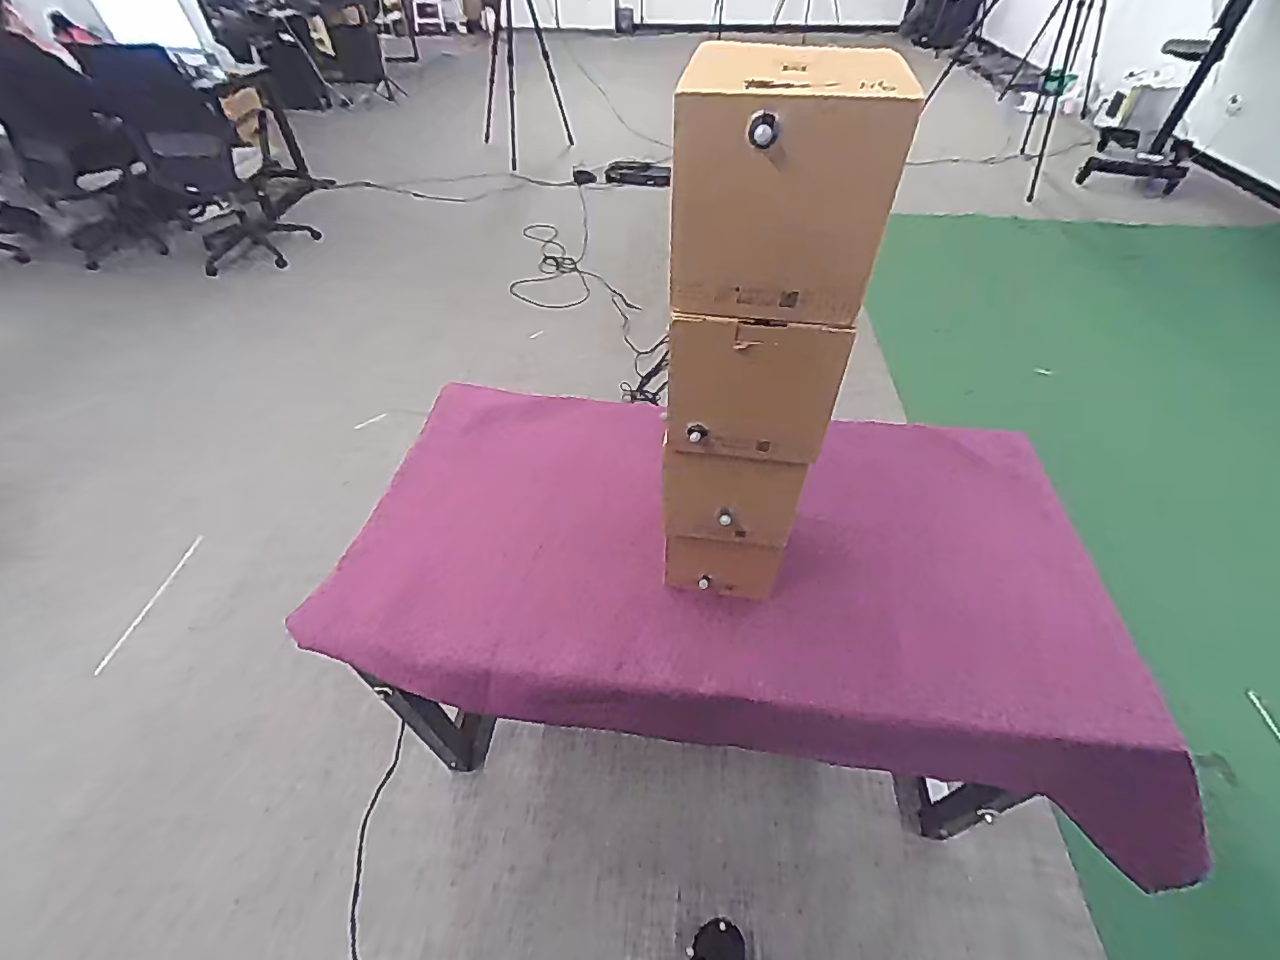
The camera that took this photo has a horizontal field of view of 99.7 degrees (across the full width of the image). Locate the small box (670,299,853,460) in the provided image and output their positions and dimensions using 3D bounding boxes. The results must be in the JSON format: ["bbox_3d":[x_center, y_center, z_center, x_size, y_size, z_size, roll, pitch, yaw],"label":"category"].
[{"bbox_3d":[0.125,-0.142,0.598,0.168,0.176,0.179,7,46,7],"label":"small box"}]

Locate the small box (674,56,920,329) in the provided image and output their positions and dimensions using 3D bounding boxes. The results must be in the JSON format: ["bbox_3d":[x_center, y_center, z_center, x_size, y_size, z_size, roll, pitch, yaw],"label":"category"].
[{"bbox_3d":[0.123,-0.258,0.483,0.168,0.176,0.179,7,46,9],"label":"small box"}]

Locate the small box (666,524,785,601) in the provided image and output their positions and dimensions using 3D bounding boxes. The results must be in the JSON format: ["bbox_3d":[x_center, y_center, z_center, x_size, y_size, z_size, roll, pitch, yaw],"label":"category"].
[{"bbox_3d":[0.133,0.064,0.854,0.168,0.176,0.179,7,48,8],"label":"small box"}]

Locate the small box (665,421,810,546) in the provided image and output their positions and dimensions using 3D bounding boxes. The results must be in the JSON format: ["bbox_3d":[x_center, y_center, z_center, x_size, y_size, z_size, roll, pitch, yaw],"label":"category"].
[{"bbox_3d":[0.125,-0.037,0.725,0.168,0.176,0.179,6,47,7],"label":"small box"}]
